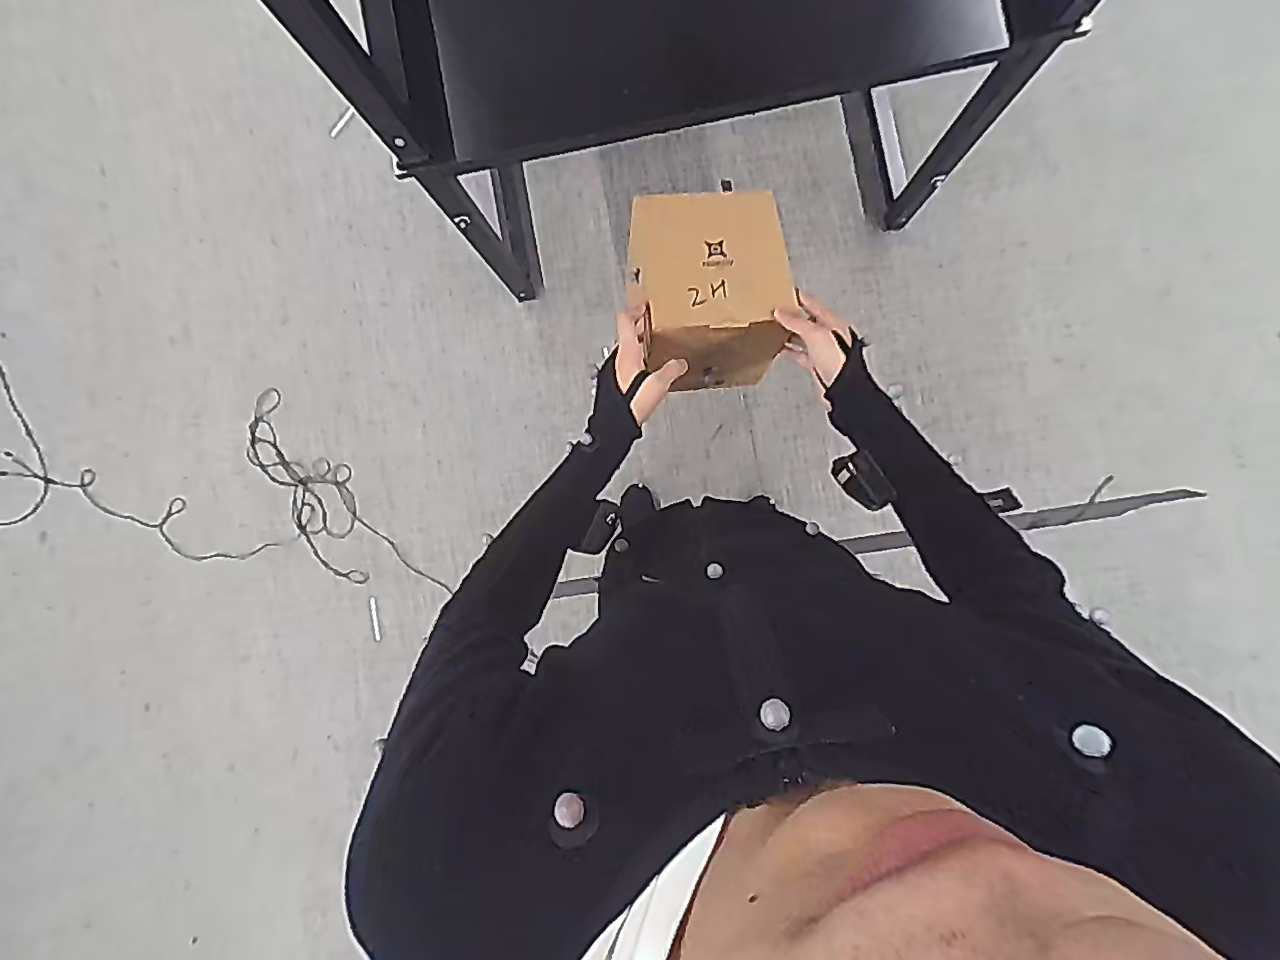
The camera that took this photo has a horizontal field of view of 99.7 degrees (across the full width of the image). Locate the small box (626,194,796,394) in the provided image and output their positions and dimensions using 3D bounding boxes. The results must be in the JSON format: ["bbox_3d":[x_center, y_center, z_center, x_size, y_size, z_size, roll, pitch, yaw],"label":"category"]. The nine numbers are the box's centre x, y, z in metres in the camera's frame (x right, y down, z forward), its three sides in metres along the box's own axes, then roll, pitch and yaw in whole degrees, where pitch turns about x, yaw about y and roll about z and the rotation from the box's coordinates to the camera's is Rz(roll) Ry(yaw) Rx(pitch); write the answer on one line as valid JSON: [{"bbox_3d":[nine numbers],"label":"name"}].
[{"bbox_3d":[0.075,-0.227,0.684,0.168,0.176,0.179,-6,76,-6],"label":"small box"}]
